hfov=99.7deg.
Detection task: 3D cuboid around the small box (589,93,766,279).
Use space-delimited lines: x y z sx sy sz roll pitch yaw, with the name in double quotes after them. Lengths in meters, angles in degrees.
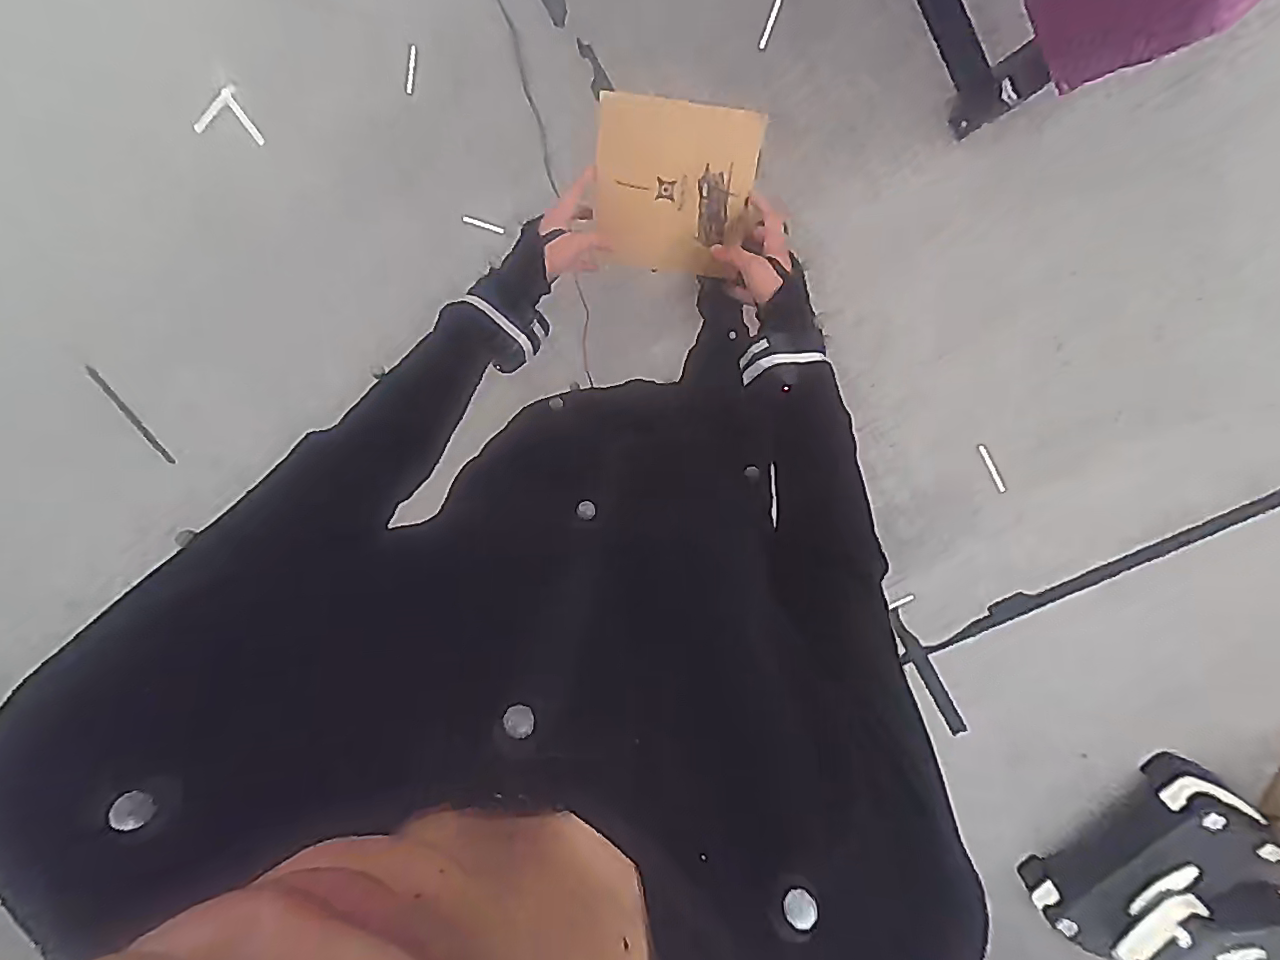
0.037 -0.358 0.663 0.179 0.176 0.168 6 121 -2 "small box"
